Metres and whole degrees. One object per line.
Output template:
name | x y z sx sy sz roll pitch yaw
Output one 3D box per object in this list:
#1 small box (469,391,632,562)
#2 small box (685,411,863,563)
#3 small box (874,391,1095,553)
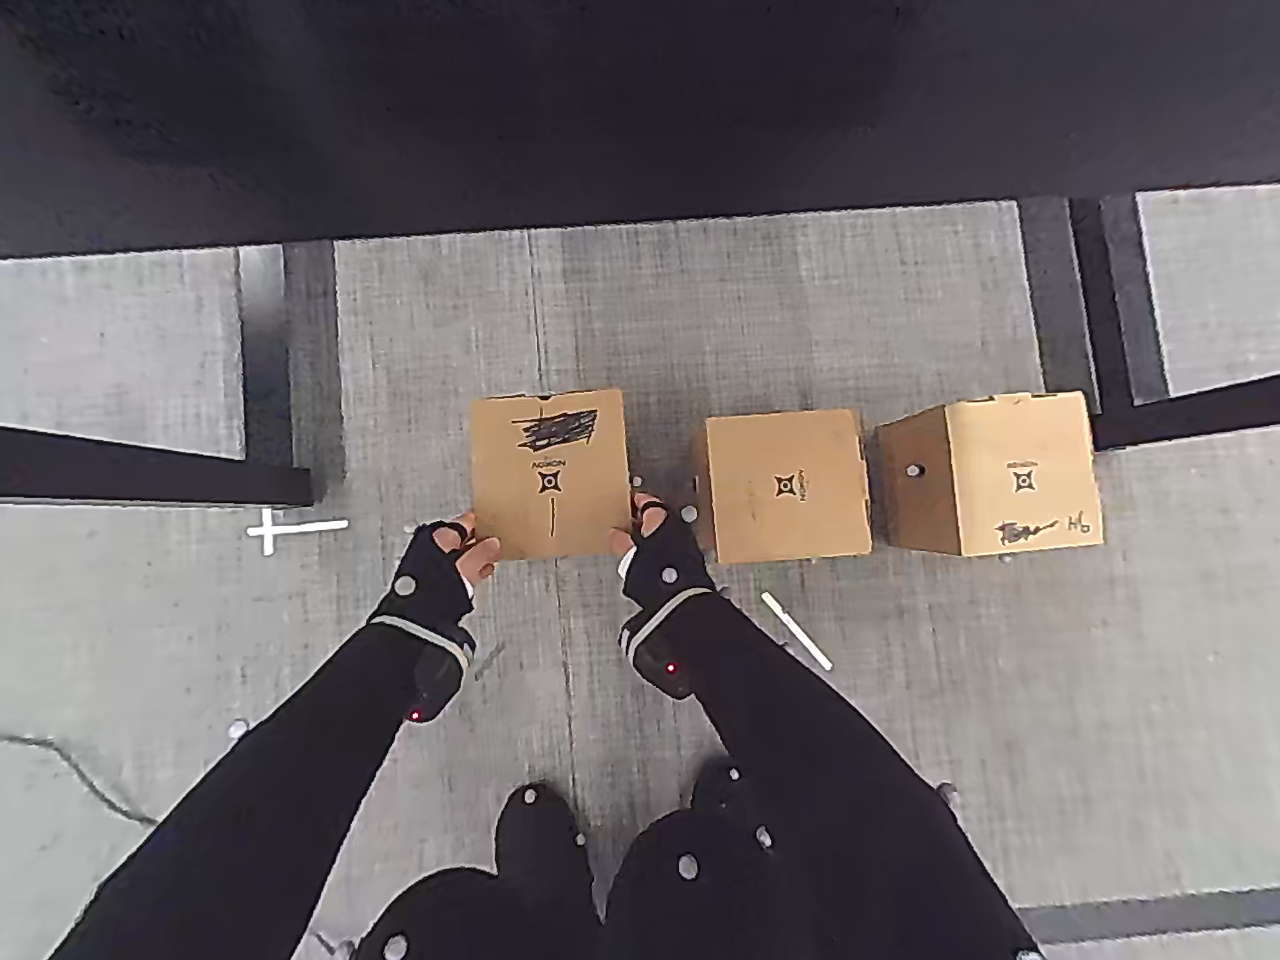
small box | -0.099 0.005 0.653 0.168 0.176 0.179 -5 83 -1
small box | 0.157 0.012 0.684 0.179 0.176 0.168 -4 86 -1
small box | 0.419 -0.002 0.689 0.168 0.176 0.179 -5 85 -1
